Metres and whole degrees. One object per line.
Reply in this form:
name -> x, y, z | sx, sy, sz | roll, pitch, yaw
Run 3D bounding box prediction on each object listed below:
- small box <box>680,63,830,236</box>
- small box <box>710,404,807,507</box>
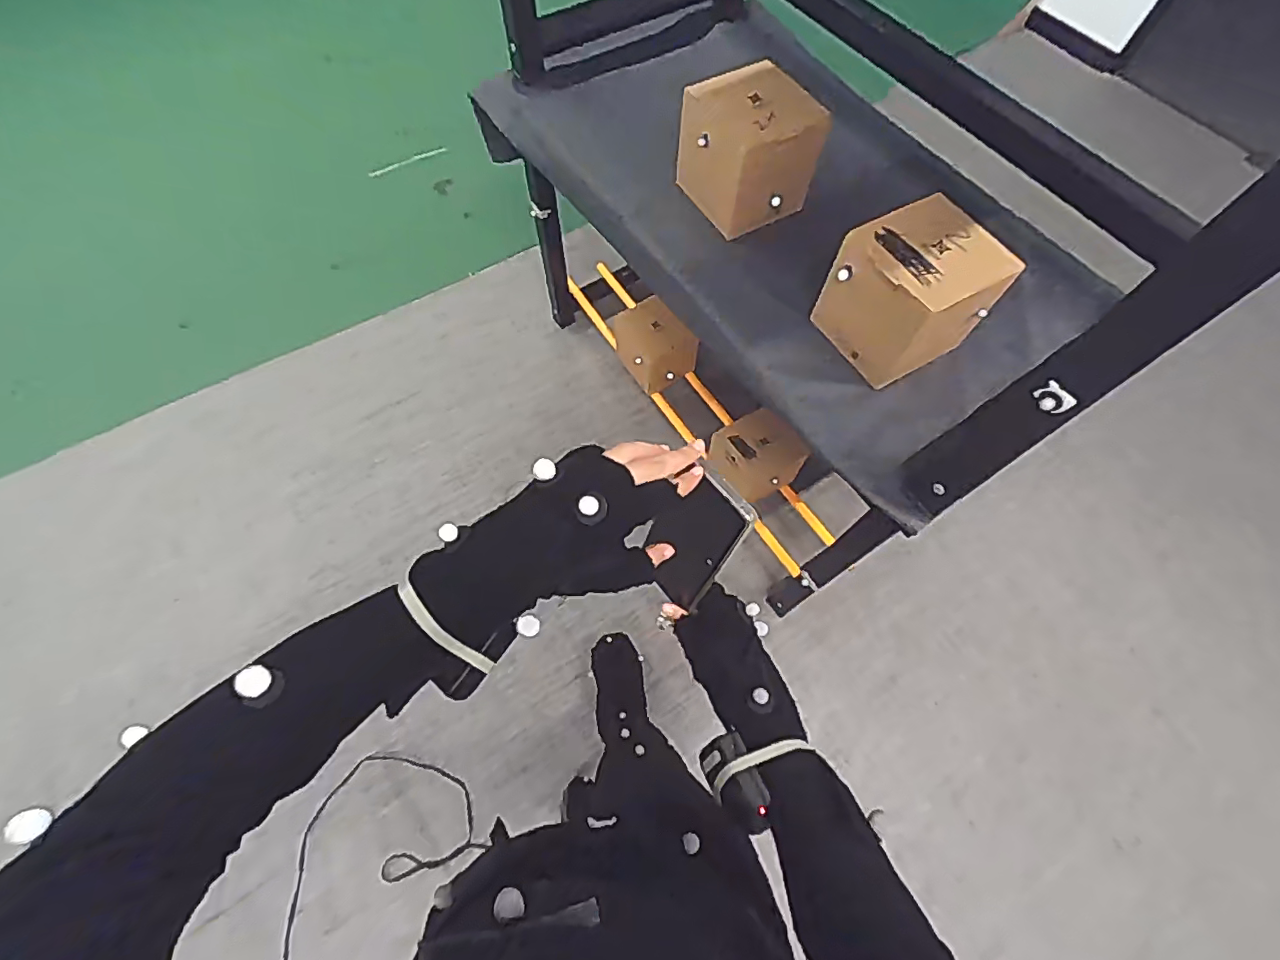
small box -> 0.182, -0.558, 0.924 | 0.168, 0.176, 0.179 | -28, 69, -13
small box -> 0.291, -0.057, 1.382 | 0.179, 0.176, 0.168 | -28, 69, -12
